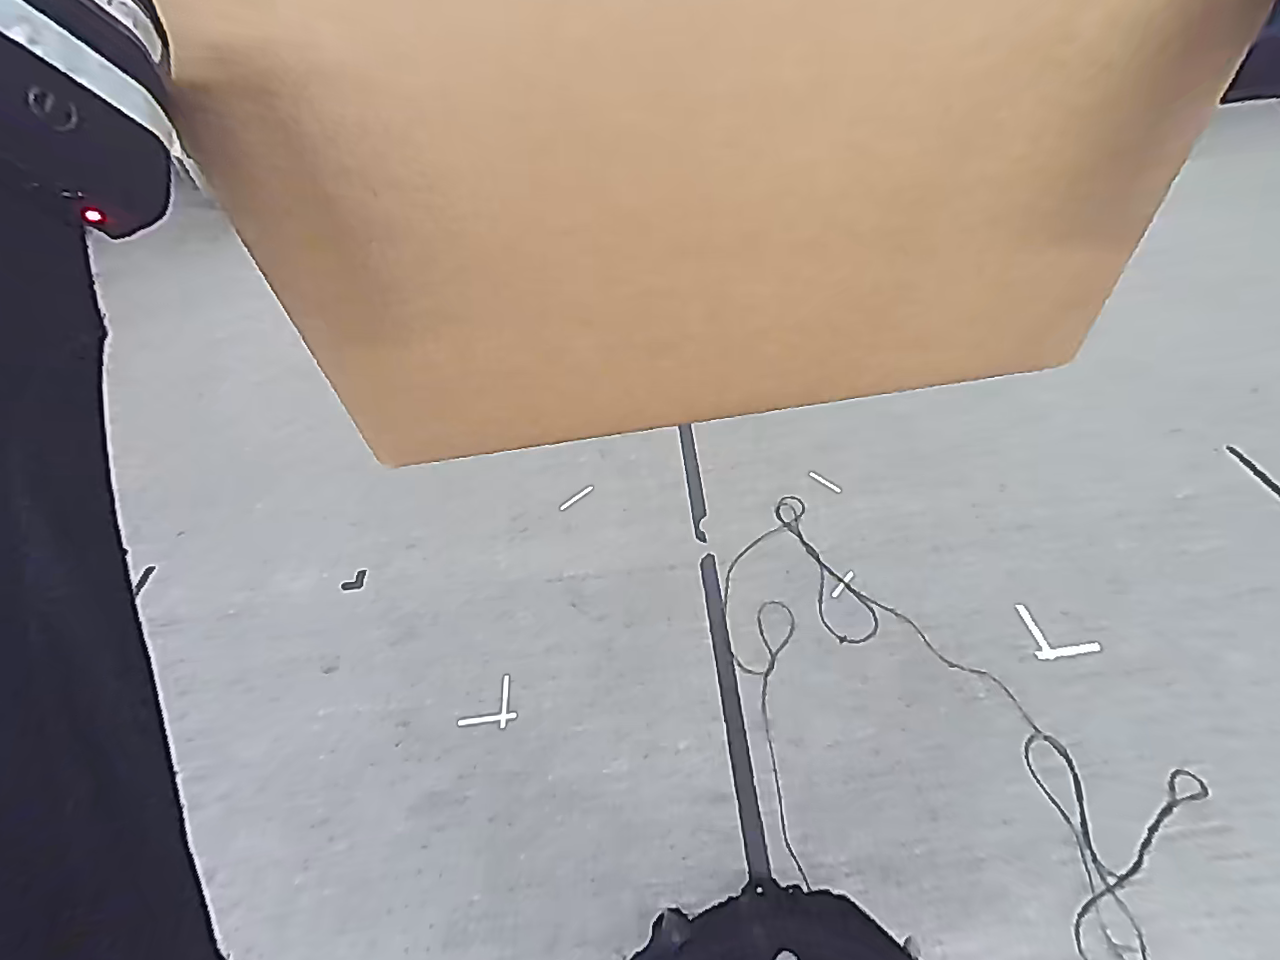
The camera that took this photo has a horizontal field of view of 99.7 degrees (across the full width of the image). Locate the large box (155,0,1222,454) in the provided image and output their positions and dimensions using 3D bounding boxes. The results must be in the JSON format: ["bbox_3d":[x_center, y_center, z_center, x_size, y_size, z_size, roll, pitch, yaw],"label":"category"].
[{"bbox_3d":[0.019,-0.250,0.322,0.408,0.320,0.320,-9,46,-3],"label":"large box"}]
